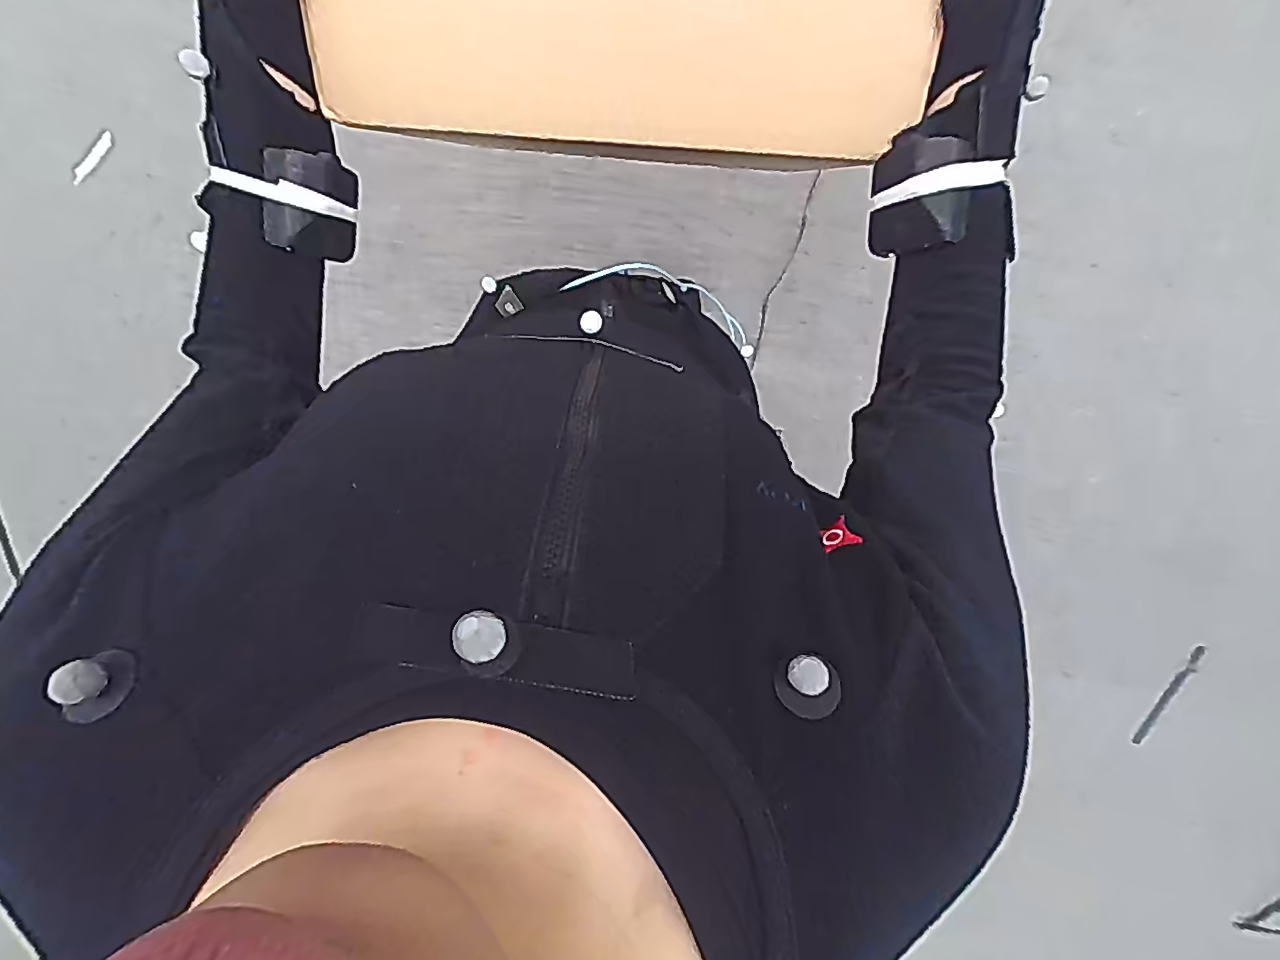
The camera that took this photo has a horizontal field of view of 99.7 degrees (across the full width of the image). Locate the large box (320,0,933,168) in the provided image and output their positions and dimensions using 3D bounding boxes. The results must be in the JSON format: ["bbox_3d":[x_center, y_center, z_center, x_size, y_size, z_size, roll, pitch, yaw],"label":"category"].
[{"bbox_3d":[-0.003,-0.446,0.442,0.408,0.320,0.320,4,120,0],"label":"large box"}]
